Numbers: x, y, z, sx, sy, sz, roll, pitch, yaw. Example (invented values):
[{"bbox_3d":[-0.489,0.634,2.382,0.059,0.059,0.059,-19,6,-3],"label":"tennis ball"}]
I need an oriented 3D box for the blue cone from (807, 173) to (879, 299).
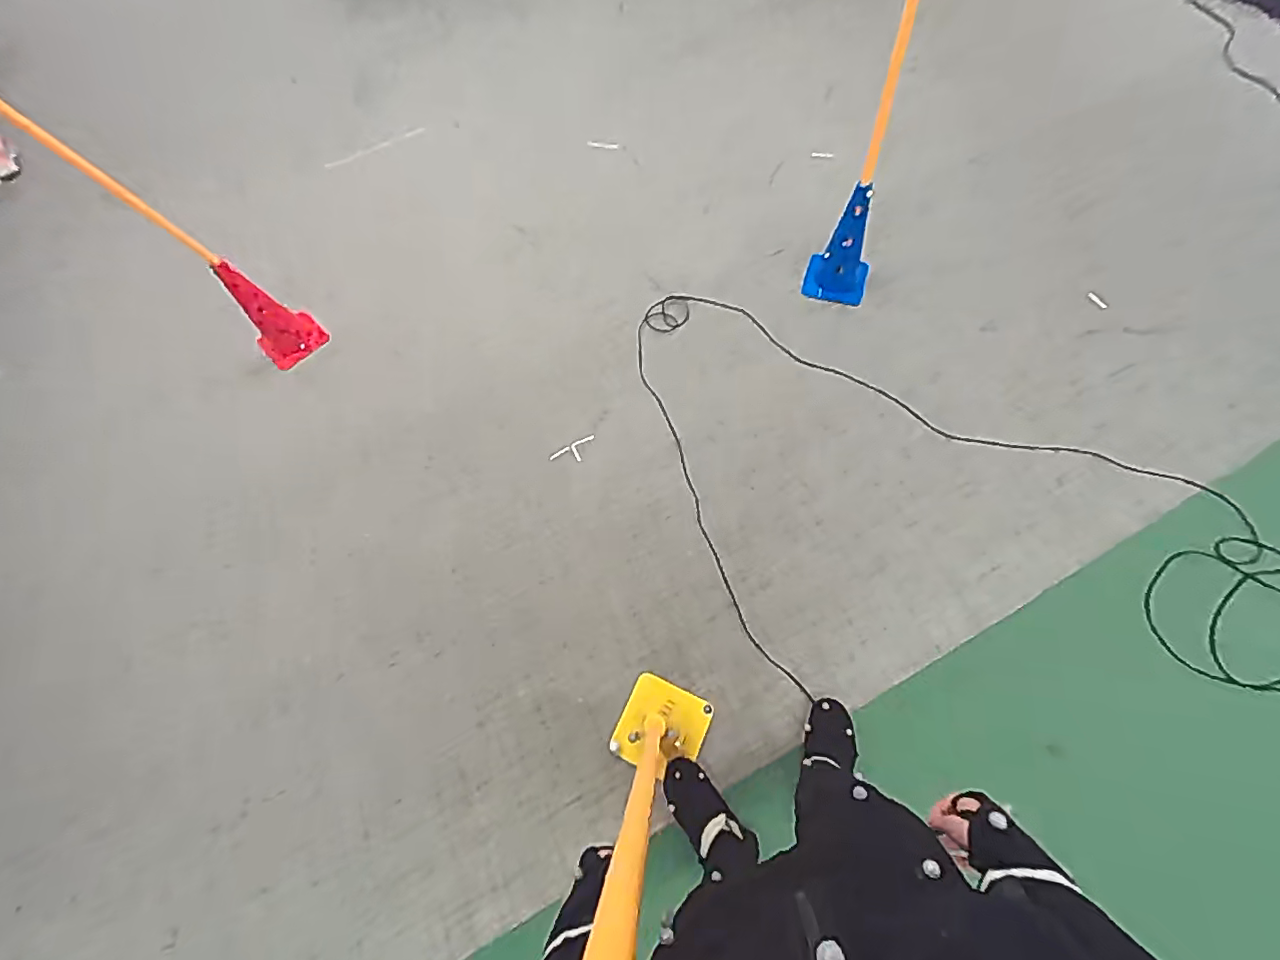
[{"bbox_3d":[0.656,-0.766,1.680,0.192,0.380,0.193,14,65,11],"label":"blue cone"}]
